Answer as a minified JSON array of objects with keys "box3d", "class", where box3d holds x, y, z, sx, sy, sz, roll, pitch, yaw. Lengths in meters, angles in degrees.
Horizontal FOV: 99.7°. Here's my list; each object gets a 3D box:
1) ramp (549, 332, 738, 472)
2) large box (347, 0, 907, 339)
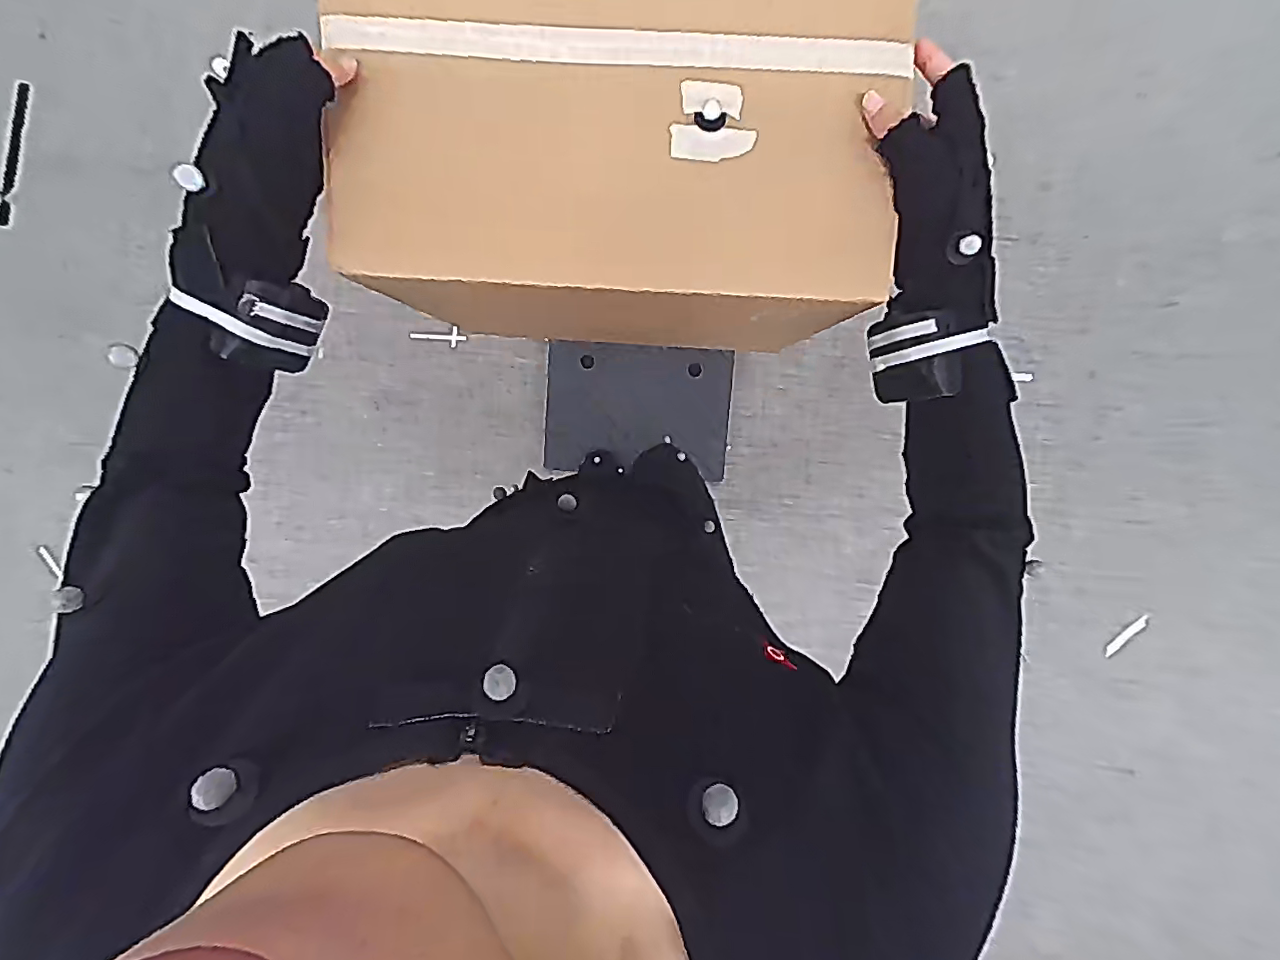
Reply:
[{"box3d":[0.026,-0.526,1.408,0.509,0.206,0.991,2,89,-2],"class":"ramp"},{"box3d":[-0.013,-0.323,0.535,0.408,0.320,0.320,3,97,-1],"class":"large box"}]
